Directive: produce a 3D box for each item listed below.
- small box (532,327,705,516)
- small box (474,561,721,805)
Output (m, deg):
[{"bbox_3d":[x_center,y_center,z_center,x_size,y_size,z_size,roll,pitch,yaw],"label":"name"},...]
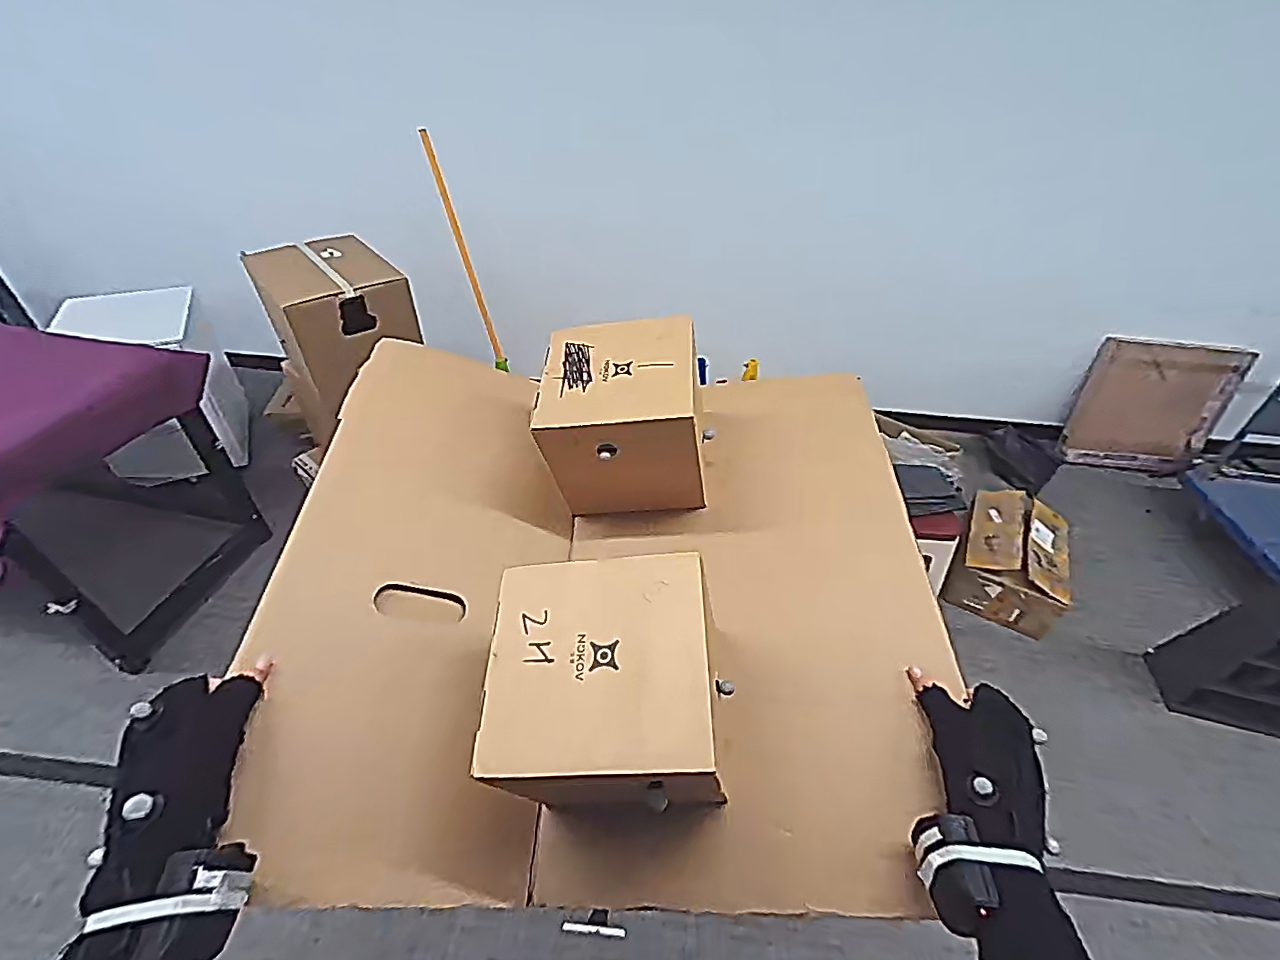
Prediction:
[{"bbox_3d":[-0.014,-0.066,0.679,0.179,0.176,0.168,-3,53,10],"label":"small box"},{"bbox_3d":[-0.020,0.188,0.489,0.179,0.176,0.168,-6,53,9],"label":"small box"}]
